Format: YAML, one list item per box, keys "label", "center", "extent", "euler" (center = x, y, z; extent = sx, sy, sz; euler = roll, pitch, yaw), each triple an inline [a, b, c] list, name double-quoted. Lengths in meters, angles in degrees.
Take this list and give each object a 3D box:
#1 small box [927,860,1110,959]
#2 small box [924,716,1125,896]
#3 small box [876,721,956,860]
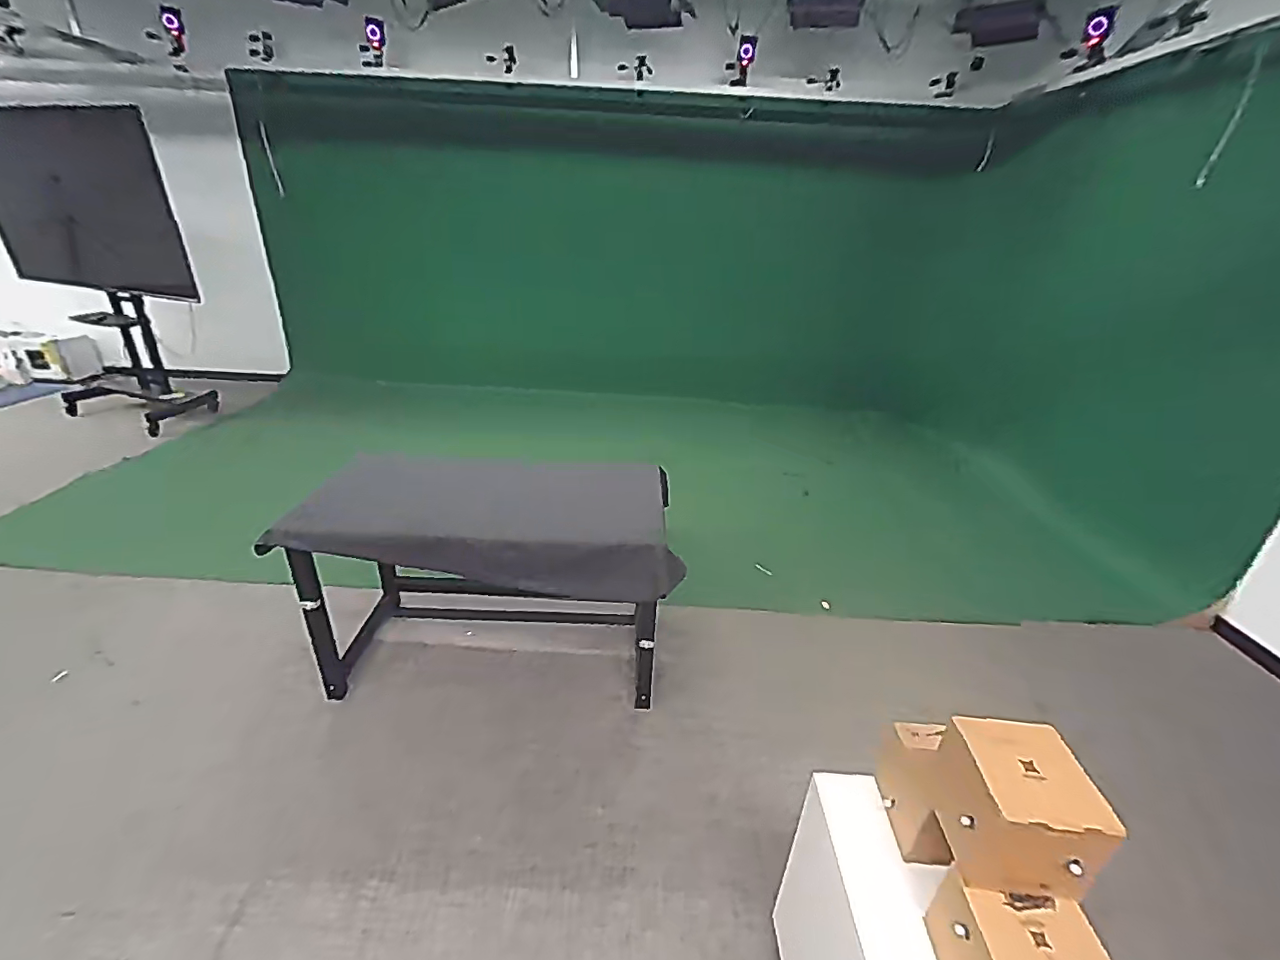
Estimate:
- label: "small box"
  center: [0.551, 0.704, 0.789]
  extent: [0.168, 0.176, 0.179]
  euler: [4, 27, 3]
- label: "small box"
  center: [0.574, 0.501, 0.837]
  extent: [0.168, 0.176, 0.179]
  euler: [5, 25, 2]
- label: "small box"
  center: [0.571, 0.590, 1.022]
  extent: [0.168, 0.176, 0.179]
  euler: [4, 28, 1]
